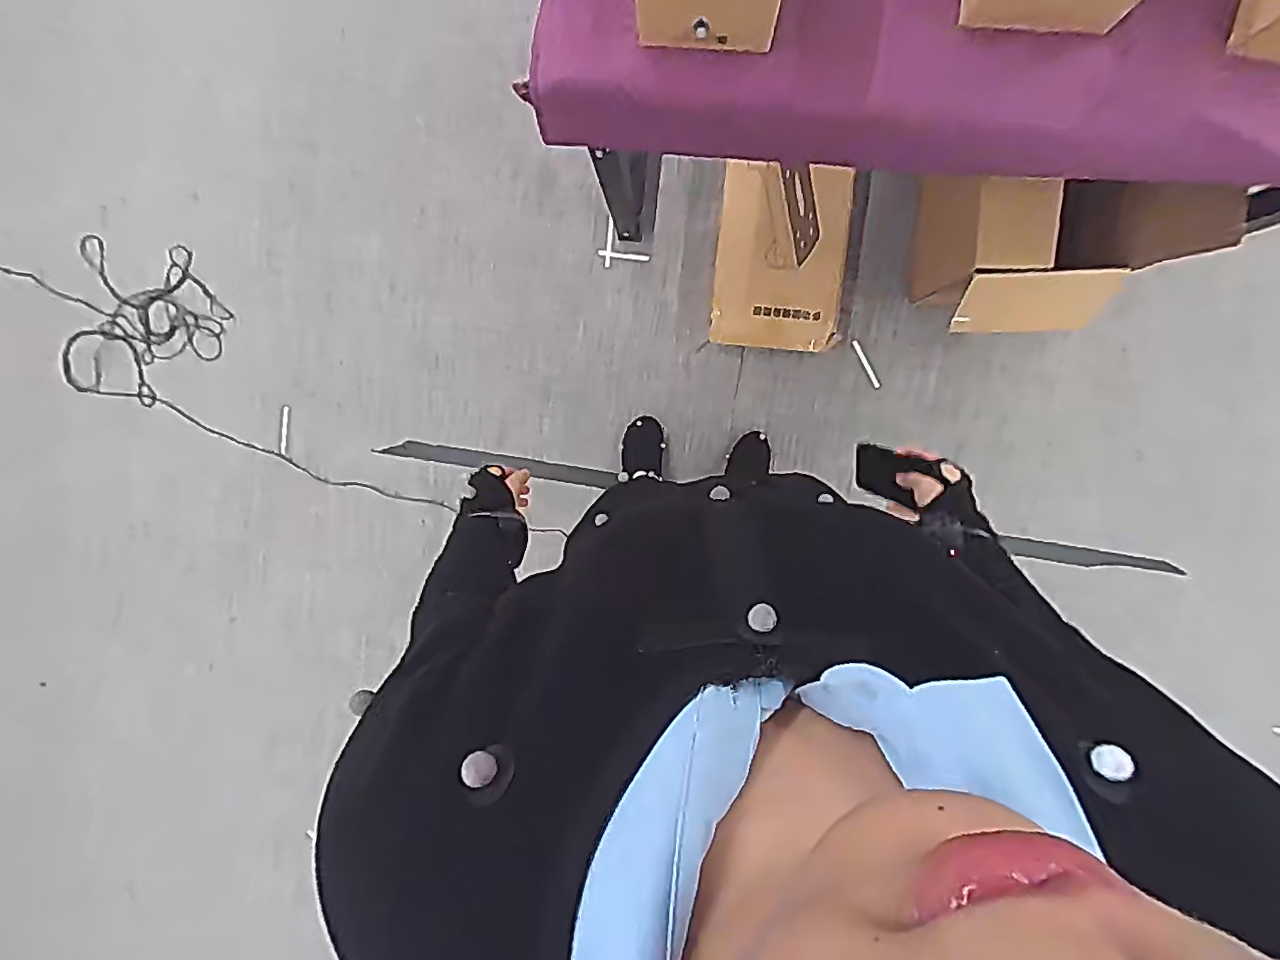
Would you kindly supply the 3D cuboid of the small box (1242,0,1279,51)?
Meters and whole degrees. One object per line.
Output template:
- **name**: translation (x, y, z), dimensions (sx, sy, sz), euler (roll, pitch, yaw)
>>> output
- **small box**: translation (0.796, -0.564, 0.545), dimensions (0.179, 0.176, 0.168), euler (13, 98, 2)

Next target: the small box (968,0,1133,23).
- **small box**: translation (0.483, -0.621, 0.560), dimensions (0.179, 0.176, 0.168), euler (6, 95, 3)
